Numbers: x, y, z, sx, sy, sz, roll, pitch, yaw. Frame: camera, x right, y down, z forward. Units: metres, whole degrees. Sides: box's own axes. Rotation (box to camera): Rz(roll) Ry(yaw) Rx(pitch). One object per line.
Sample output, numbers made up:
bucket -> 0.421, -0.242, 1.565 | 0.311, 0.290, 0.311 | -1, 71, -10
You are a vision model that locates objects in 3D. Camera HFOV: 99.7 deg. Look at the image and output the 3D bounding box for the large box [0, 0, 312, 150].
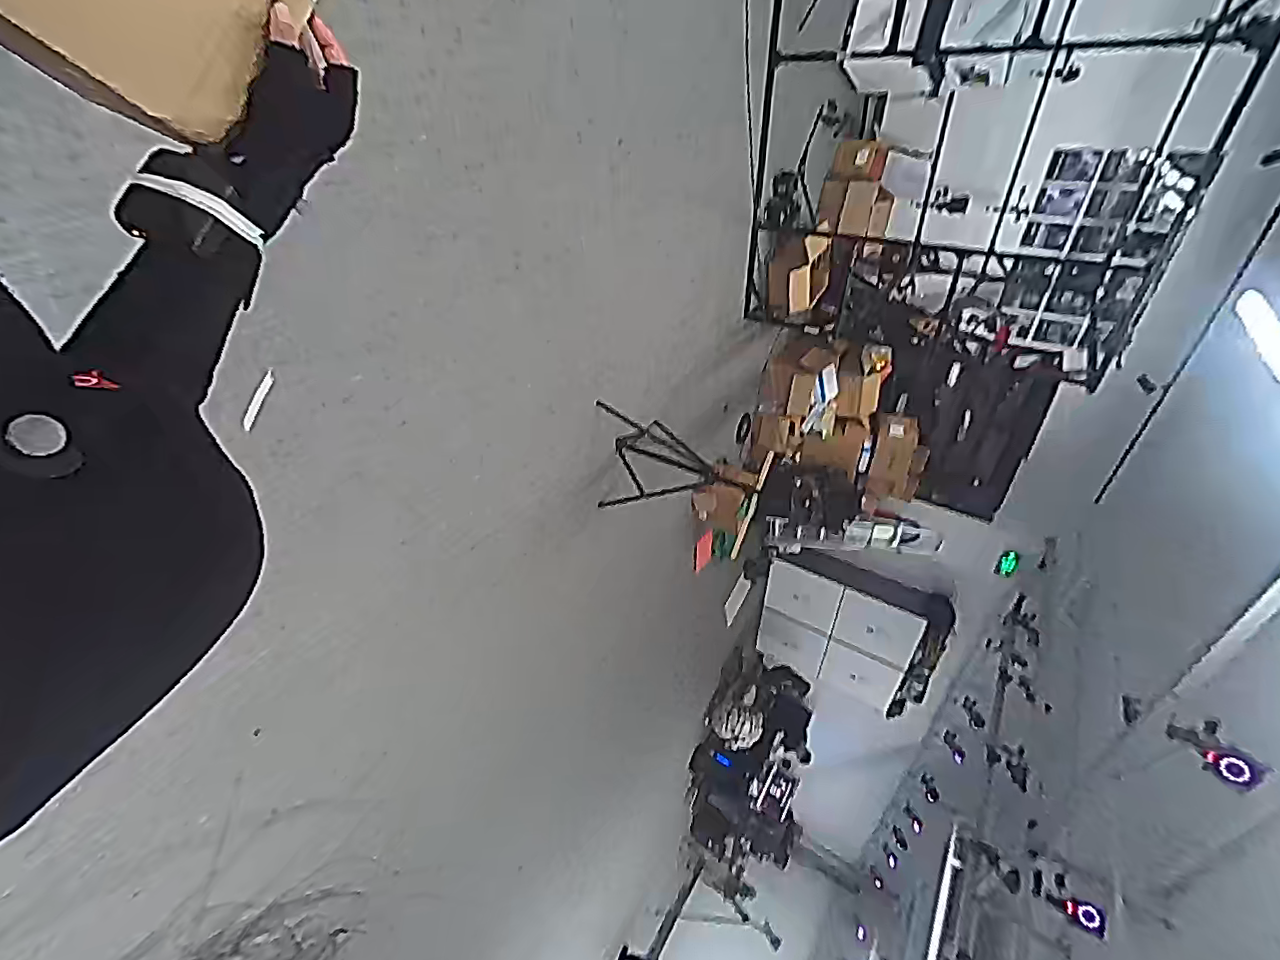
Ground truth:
large box -> -0.455, -0.504, 0.324 | 0.320, 0.320, 0.408 | -59, 155, 1
